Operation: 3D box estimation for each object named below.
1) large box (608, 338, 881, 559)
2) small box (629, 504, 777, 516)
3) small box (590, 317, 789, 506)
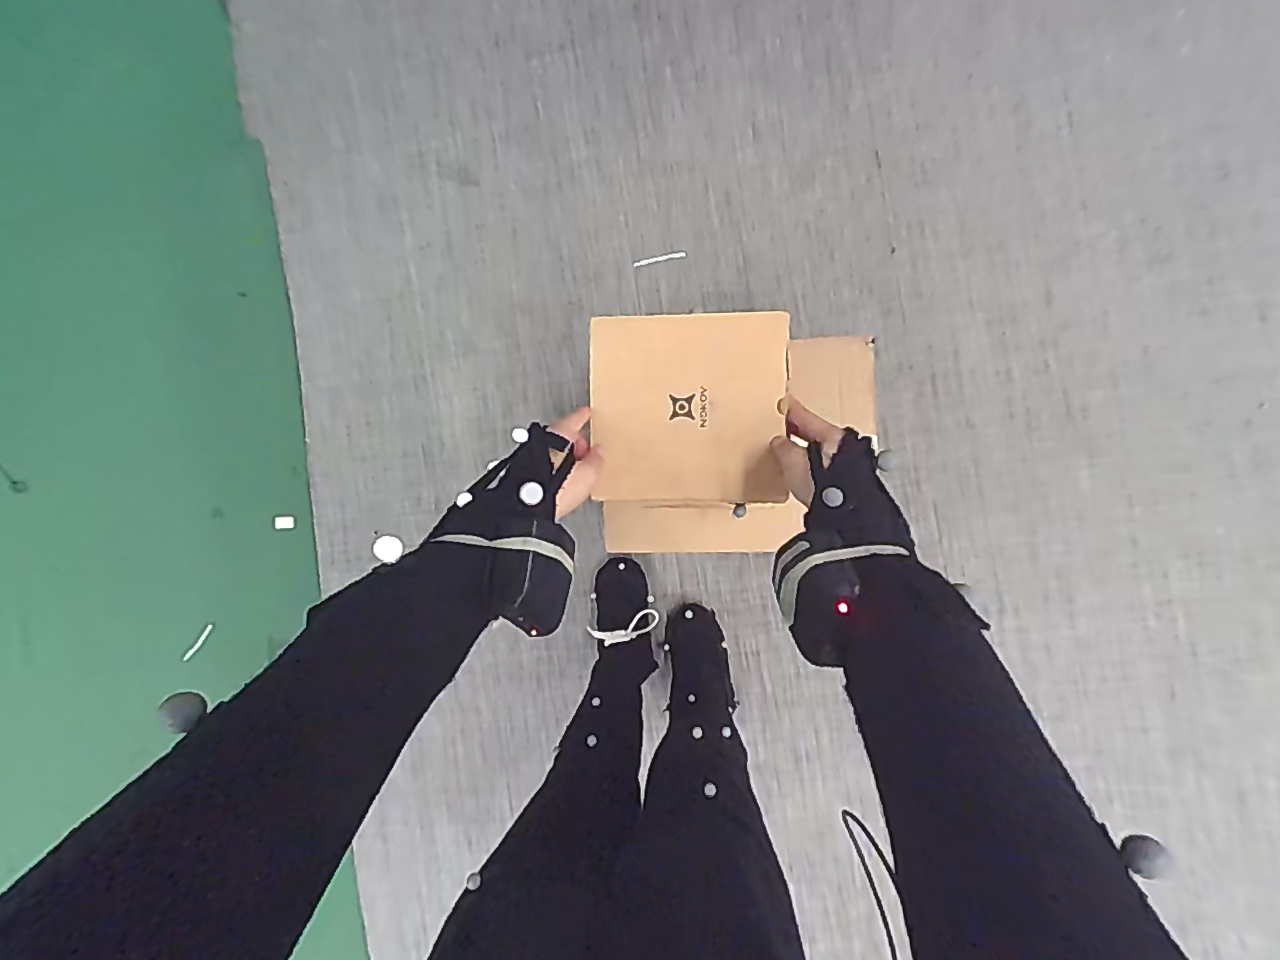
[{"bbox_3d":[0.161,-0.040,0.951,0.408,0.320,0.320,-2,89,8],"label":"large box"},{"bbox_3d":[0.084,-0.037,0.717,0.179,0.176,0.168,-1,87,10],"label":"small box"},{"bbox_3d":[0.051,-0.057,0.552,0.179,0.176,0.168,0,89,6],"label":"small box"}]
